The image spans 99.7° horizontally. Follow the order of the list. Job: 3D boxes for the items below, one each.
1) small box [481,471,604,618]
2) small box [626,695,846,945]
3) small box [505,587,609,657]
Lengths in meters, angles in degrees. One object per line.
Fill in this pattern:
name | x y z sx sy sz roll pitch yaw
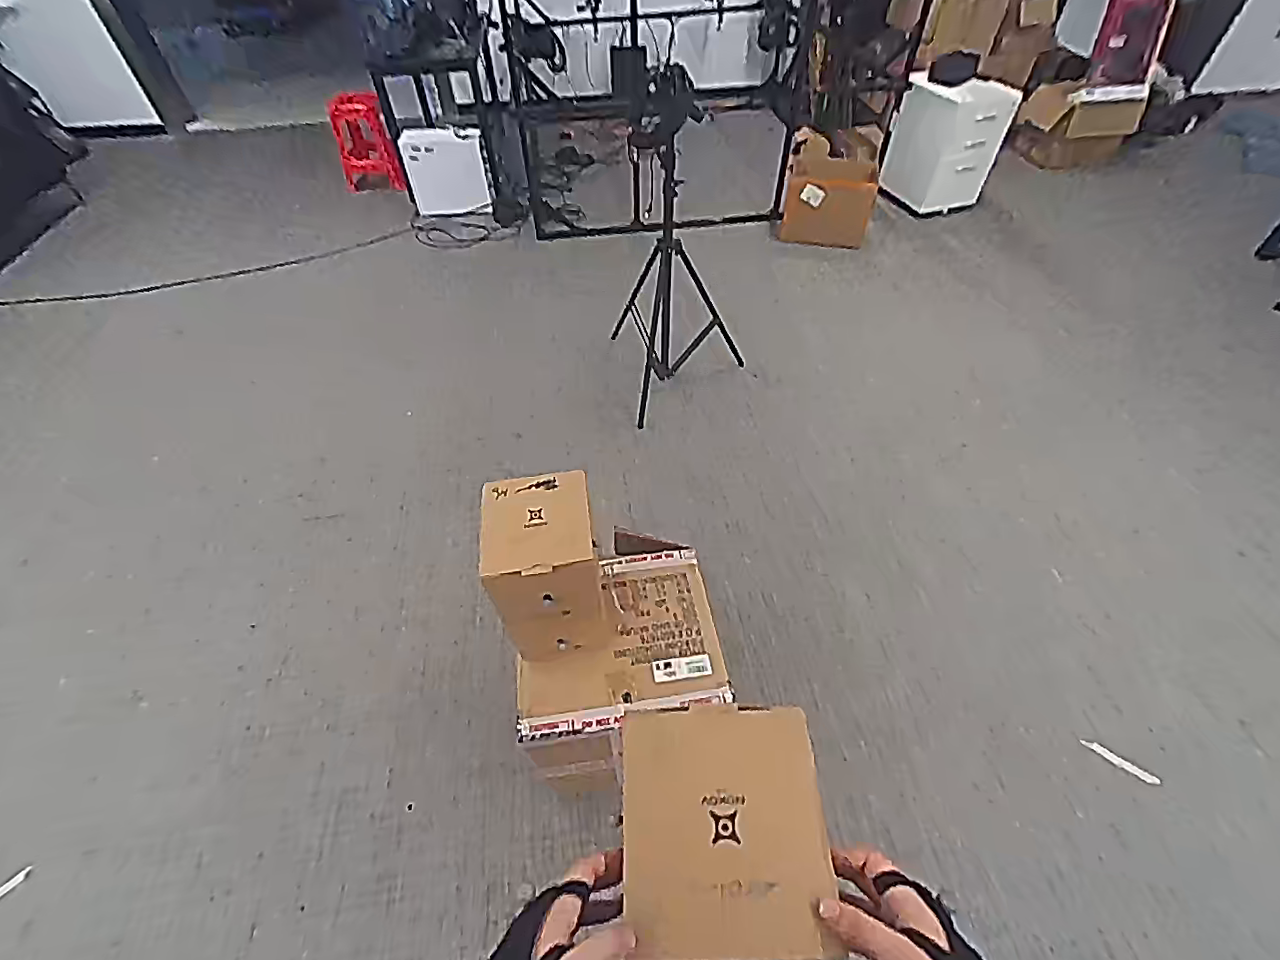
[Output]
small box | -0.154 0.112 0.883 0.168 0.176 0.179 -8 53 -4
small box | 0.070 0.315 0.514 0.168 0.176 0.179 -1 57 -1
small box | -0.155 0.208 1.017 0.168 0.176 0.179 -10 52 -4
